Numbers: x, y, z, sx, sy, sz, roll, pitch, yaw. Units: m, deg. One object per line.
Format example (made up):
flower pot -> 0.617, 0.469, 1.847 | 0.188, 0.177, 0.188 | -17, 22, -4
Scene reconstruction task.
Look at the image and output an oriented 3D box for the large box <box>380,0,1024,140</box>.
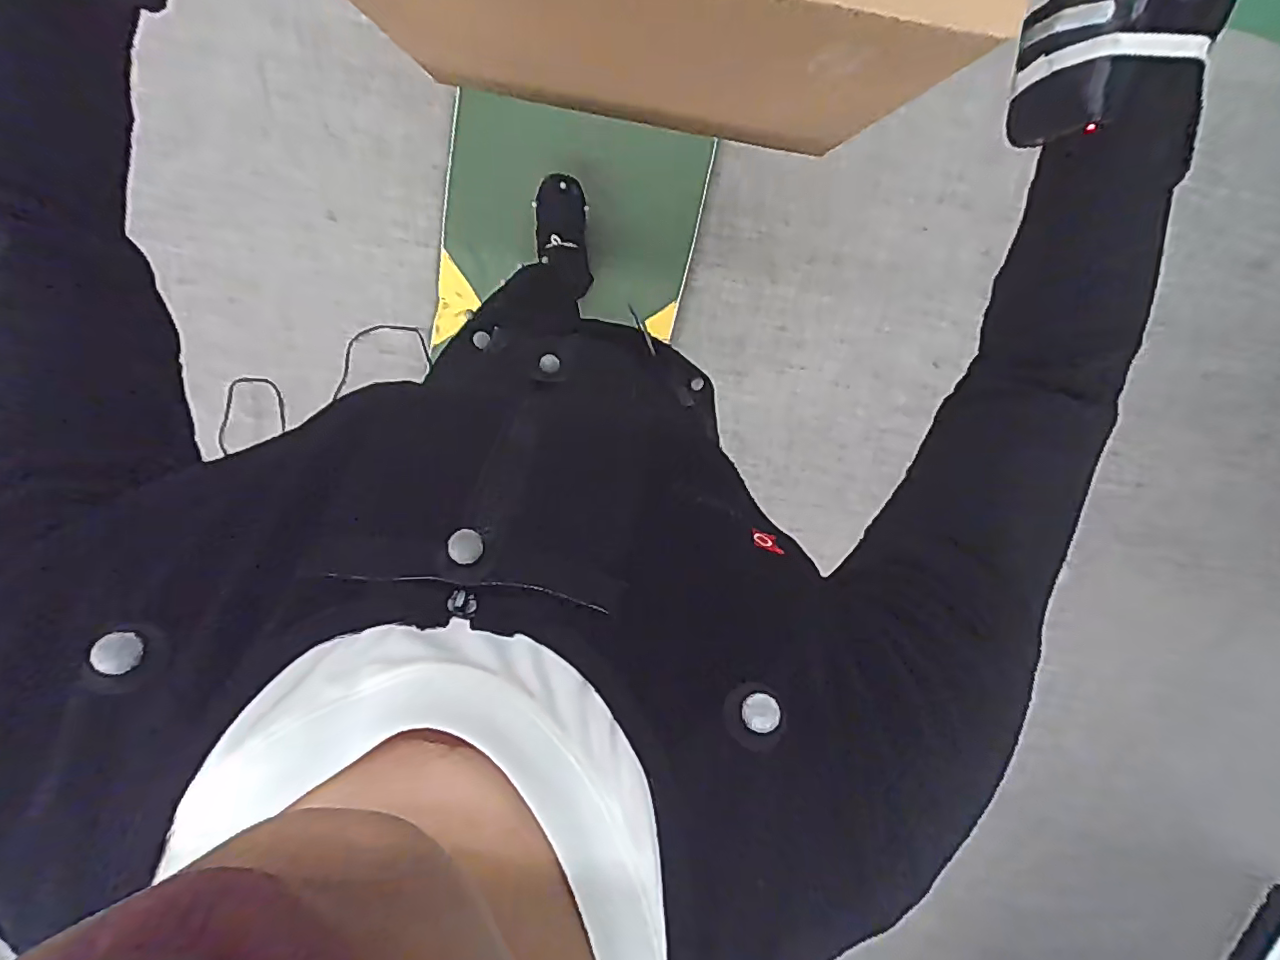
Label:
large box -> 0.024, -0.464, 0.361 | 0.408, 0.320, 0.320 | 8, 112, -4
